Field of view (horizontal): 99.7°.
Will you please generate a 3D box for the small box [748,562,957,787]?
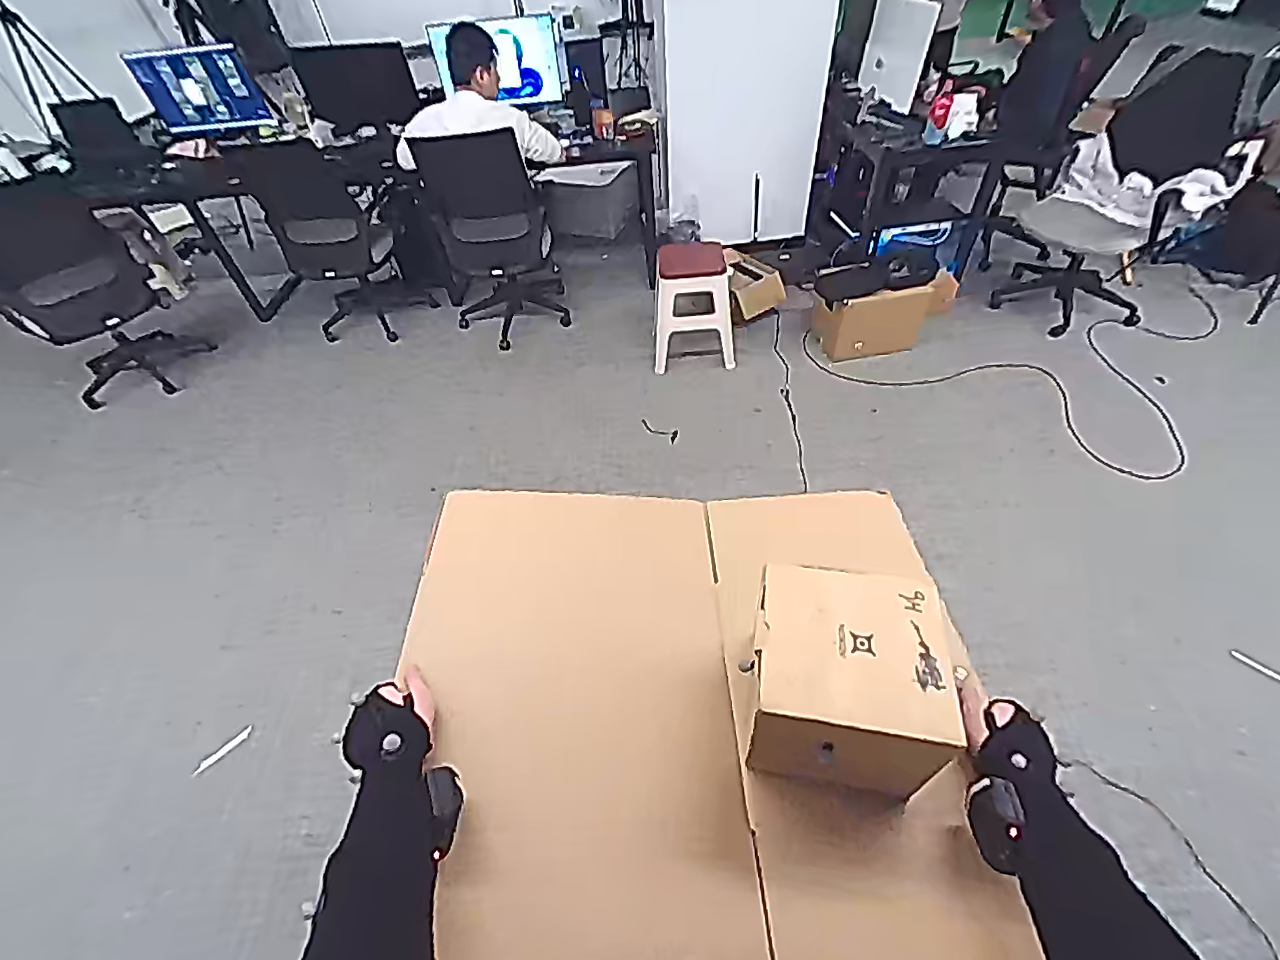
[{"bbox_3d":[0.213,0.212,0.590,0.179,0.176,0.168,5,48,12],"label":"small box"}]
